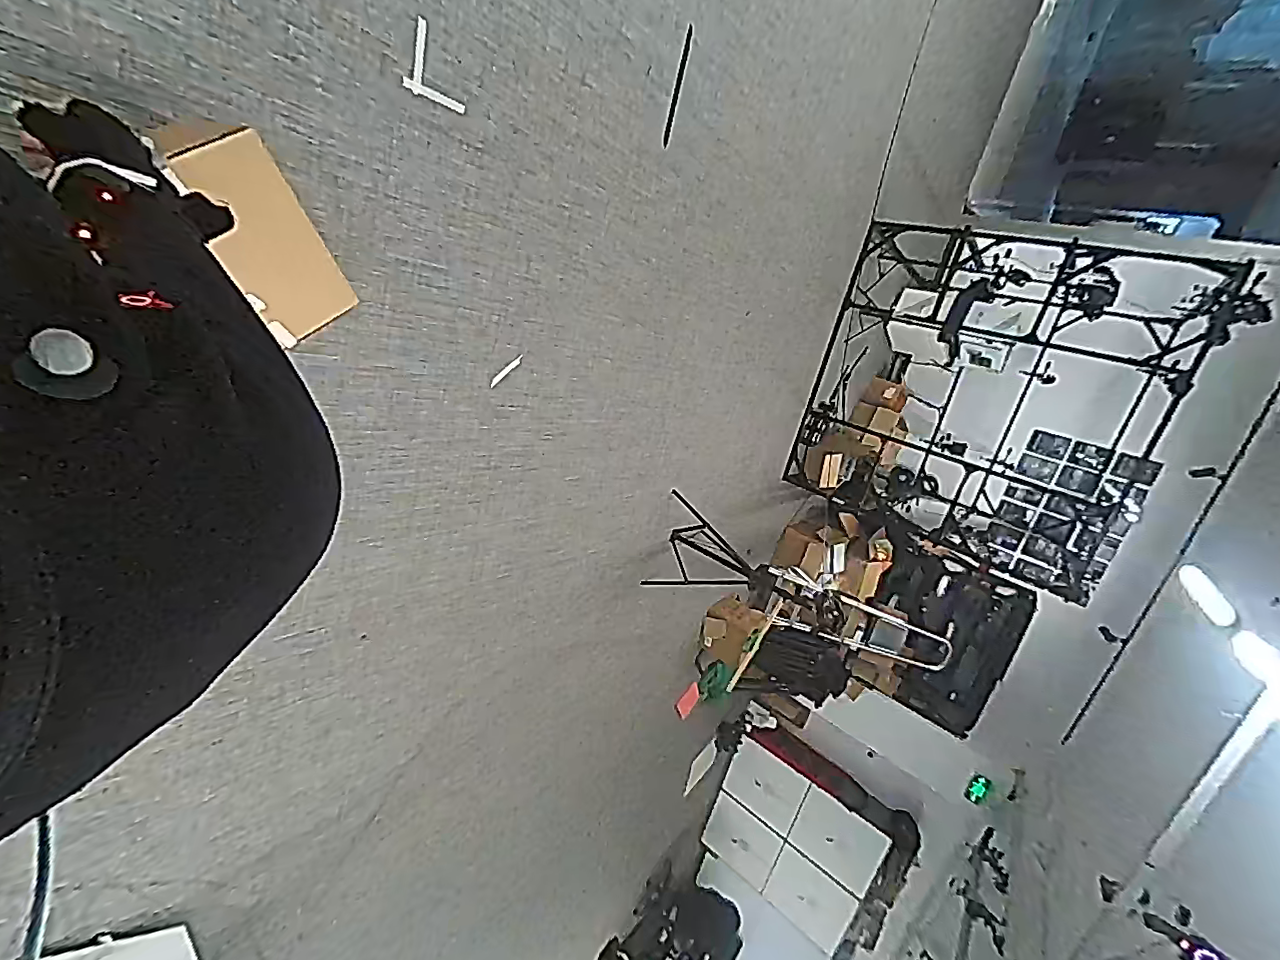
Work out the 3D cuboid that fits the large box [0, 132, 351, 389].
[{"bbox_3d":[-0.836,-0.415,0.997,0.320,0.408,0.320,-47,143,-27],"label":"large box"}]
